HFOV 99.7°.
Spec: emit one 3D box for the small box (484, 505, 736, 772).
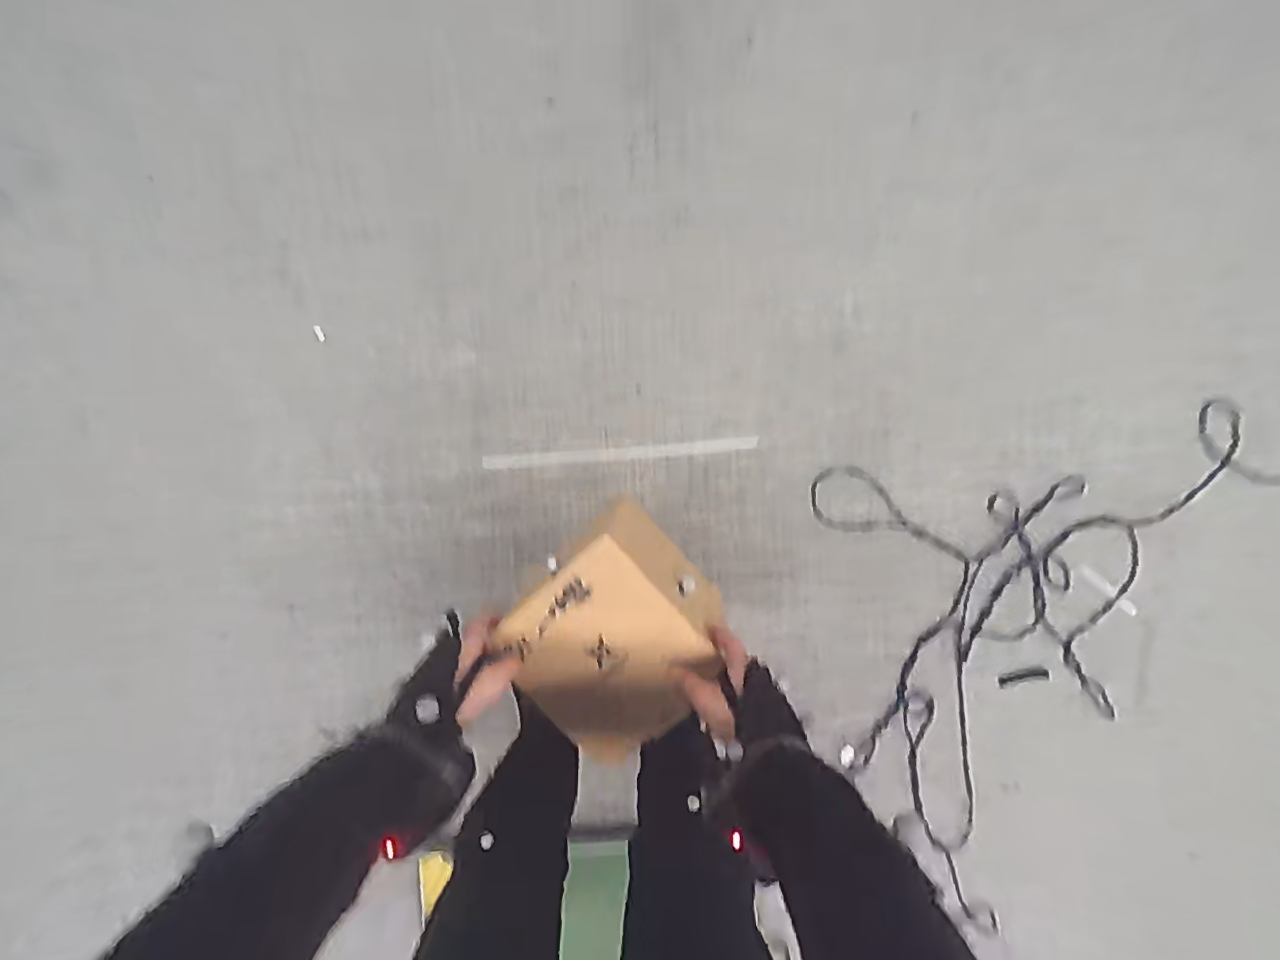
[{"bbox_3d":[-0.023,0.150,0.571,0.168,0.176,0.179,-42,95,9],"label":"small box"}]
